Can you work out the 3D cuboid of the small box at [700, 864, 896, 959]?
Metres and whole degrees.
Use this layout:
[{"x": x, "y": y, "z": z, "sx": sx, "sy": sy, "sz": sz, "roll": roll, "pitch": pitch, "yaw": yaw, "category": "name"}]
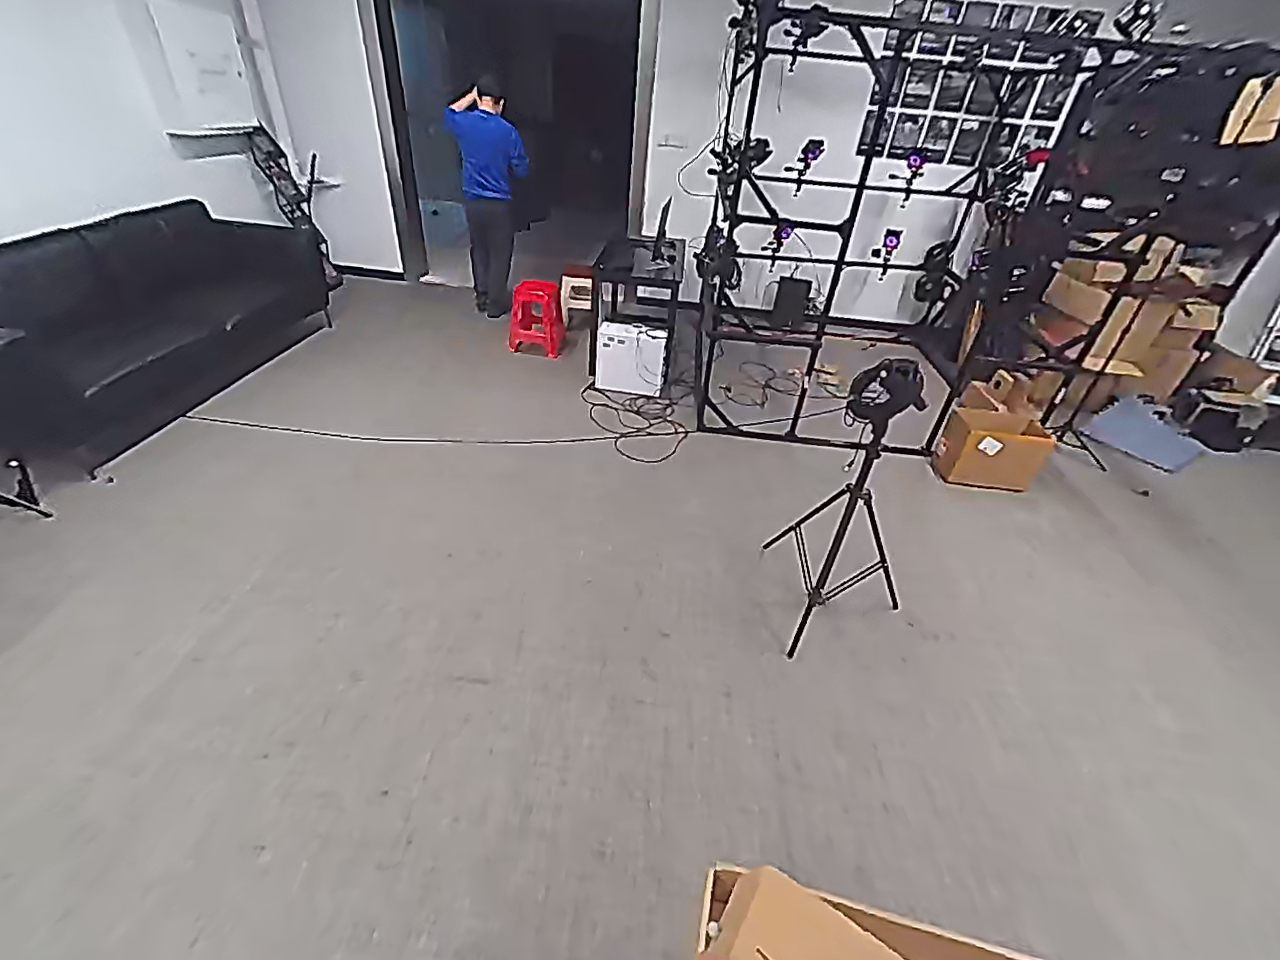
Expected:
[{"x": 0.169, "y": 0.586, "z": 0.620, "sx": 0.179, "sy": 0.176, "sz": 0.168, "roll": 28, "pitch": 52, "yaw": 20, "category": "small box"}]
